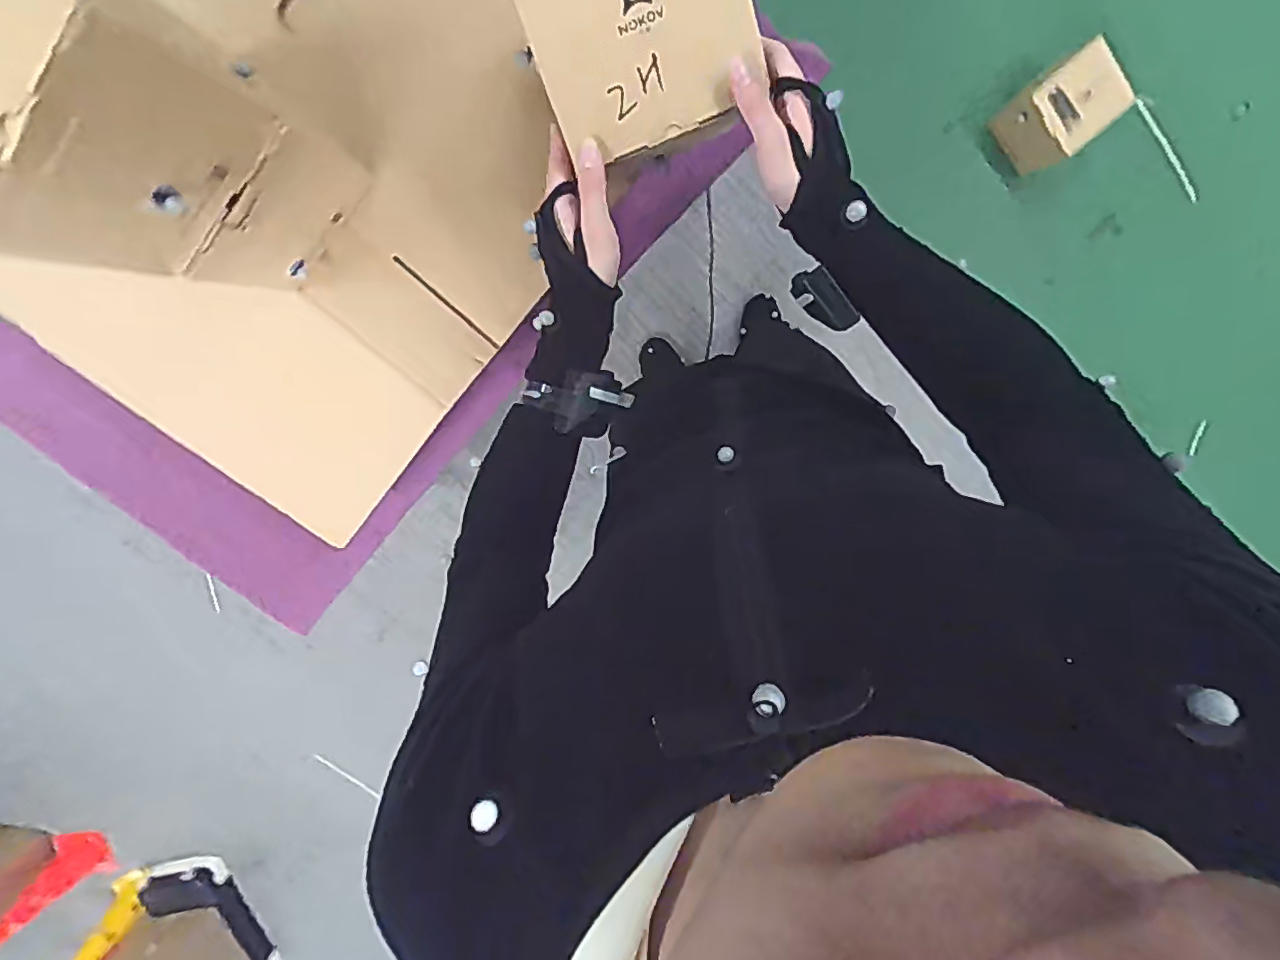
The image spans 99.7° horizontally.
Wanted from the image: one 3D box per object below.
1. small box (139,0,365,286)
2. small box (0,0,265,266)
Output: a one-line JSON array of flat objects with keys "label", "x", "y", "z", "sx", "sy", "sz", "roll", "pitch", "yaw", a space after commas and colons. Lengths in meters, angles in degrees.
[{"label": "small box", "x": -0.408, "y": -0.306, "z": 0.517, "sx": 0.179, "sy": 0.176, "sz": 0.168, "roll": 41, "pitch": 100, "yaw": -10}, {"label": "small box", "x": -0.411, "y": -0.267, "z": 0.359, "sx": 0.179, "sy": 0.176, "sz": 0.168, "roll": 39, "pitch": 100, "yaw": -12}]
